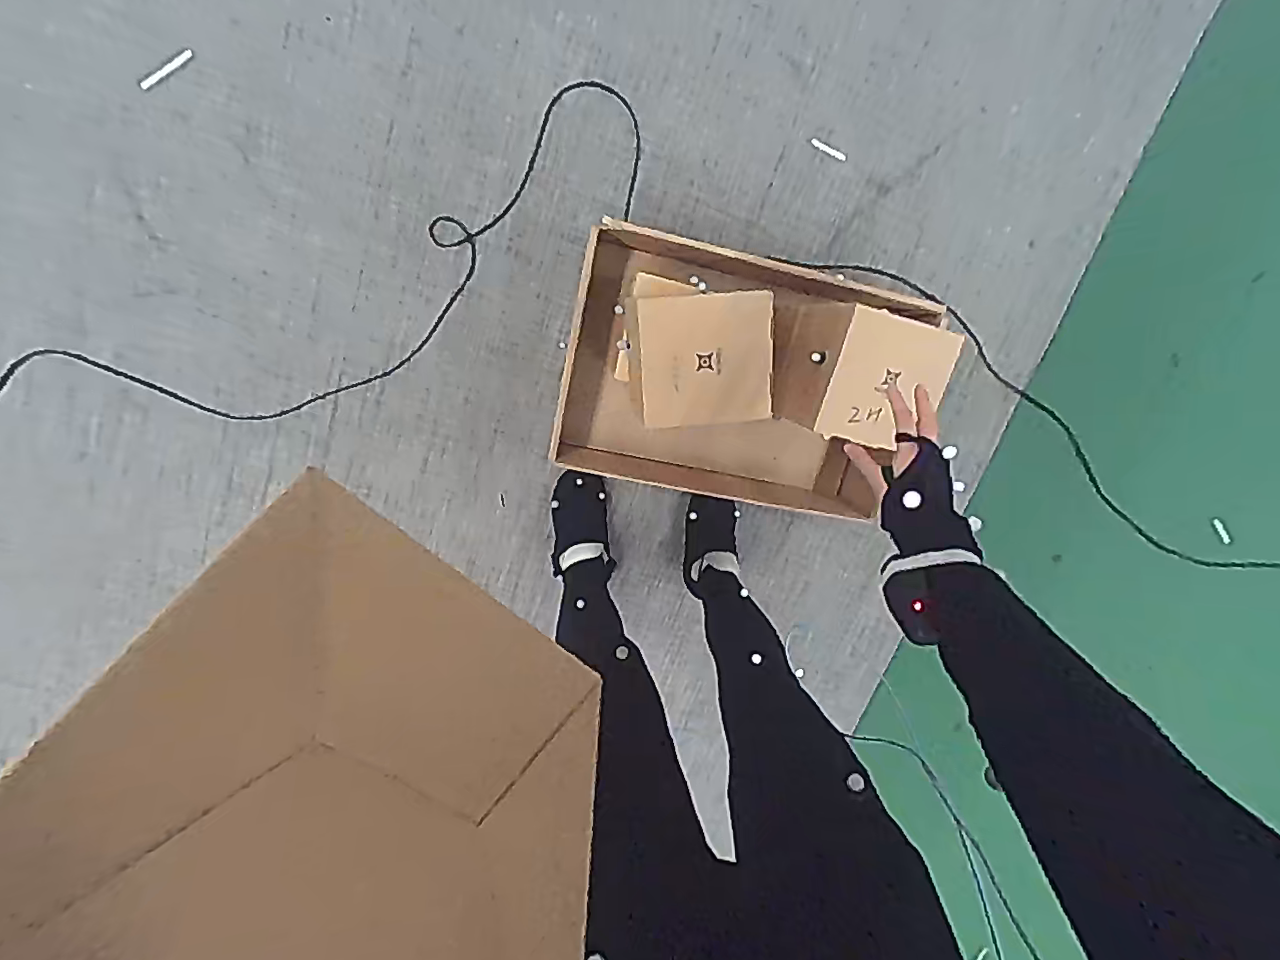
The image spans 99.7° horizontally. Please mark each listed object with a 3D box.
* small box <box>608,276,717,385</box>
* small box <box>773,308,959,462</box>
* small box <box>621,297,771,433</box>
[{"bbox_3d":[0.047,-0.235,0.917,0.179,0.176,0.168,11,106,-11],"label":"small box"},{"bbox_3d":[0.319,-0.146,0.804,0.168,0.176,0.179,13,105,-10],"label":"small box"},{"bbox_3d":[0.072,-0.171,0.770,0.179,0.176,0.168,-5,108,-6],"label":"small box"}]
